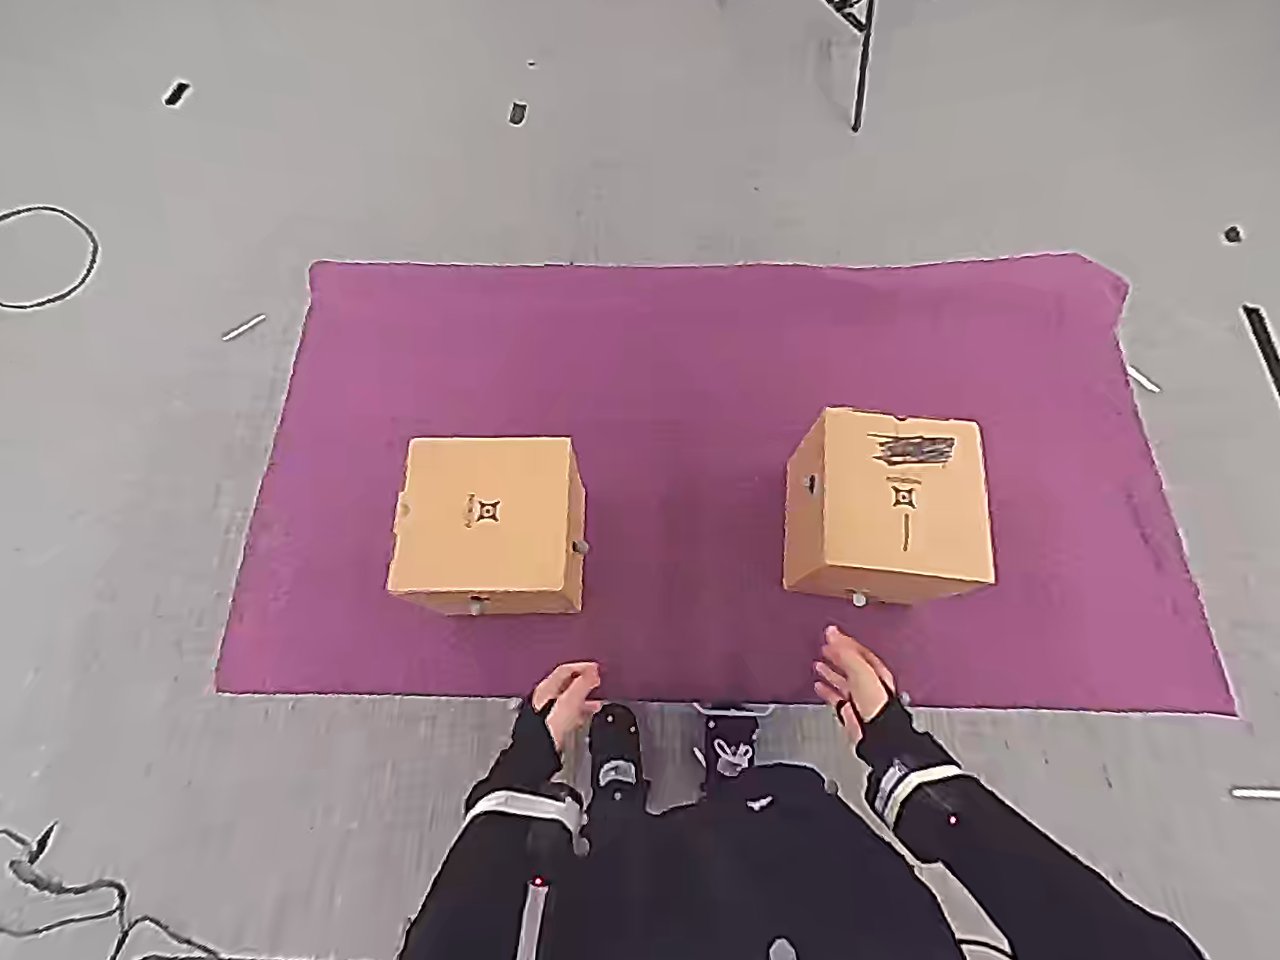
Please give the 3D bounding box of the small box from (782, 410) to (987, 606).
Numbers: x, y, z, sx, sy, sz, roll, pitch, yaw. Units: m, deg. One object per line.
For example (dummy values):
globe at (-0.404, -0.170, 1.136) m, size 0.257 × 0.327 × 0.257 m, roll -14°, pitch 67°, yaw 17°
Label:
small box at (0.268, 0.040, 0.633) m, size 0.168 × 0.176 × 0.179 m, roll 7°, pitch 71°, yaw 3°

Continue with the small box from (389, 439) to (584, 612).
small box at (-0.160, 0.060, 0.631) m, size 0.179 × 0.176 × 0.168 m, roll -1°, pitch 70°, yaw 1°
